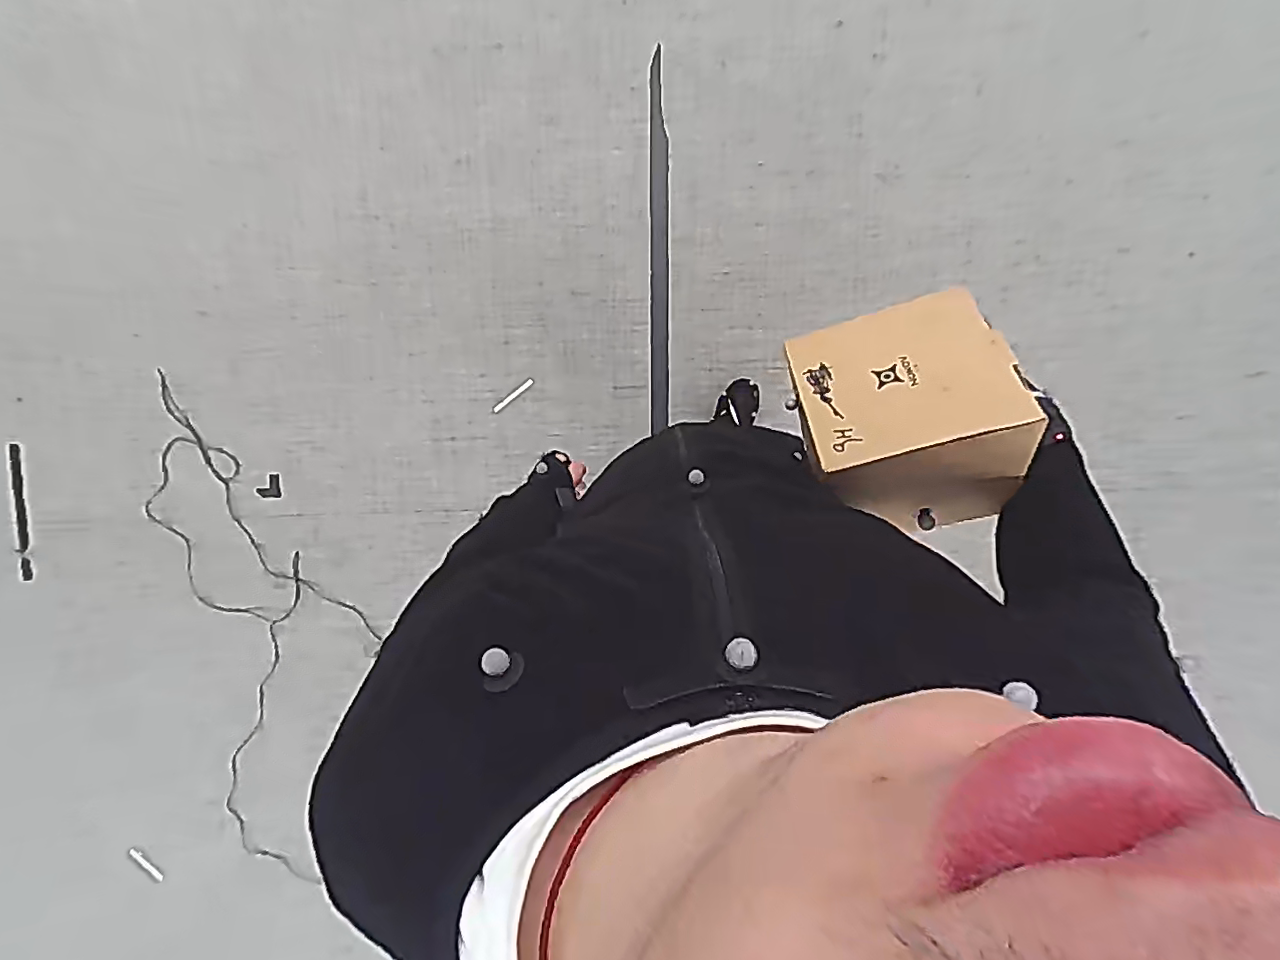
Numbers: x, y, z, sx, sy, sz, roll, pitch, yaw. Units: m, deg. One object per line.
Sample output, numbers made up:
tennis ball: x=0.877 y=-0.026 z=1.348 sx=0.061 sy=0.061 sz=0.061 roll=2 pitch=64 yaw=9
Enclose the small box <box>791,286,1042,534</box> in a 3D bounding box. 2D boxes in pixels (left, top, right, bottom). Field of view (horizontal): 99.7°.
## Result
small box: x=0.271 y=-0.062 z=0.568 sx=0.179 sy=0.176 sz=0.168 roll=-15 pitch=55 yaw=15
